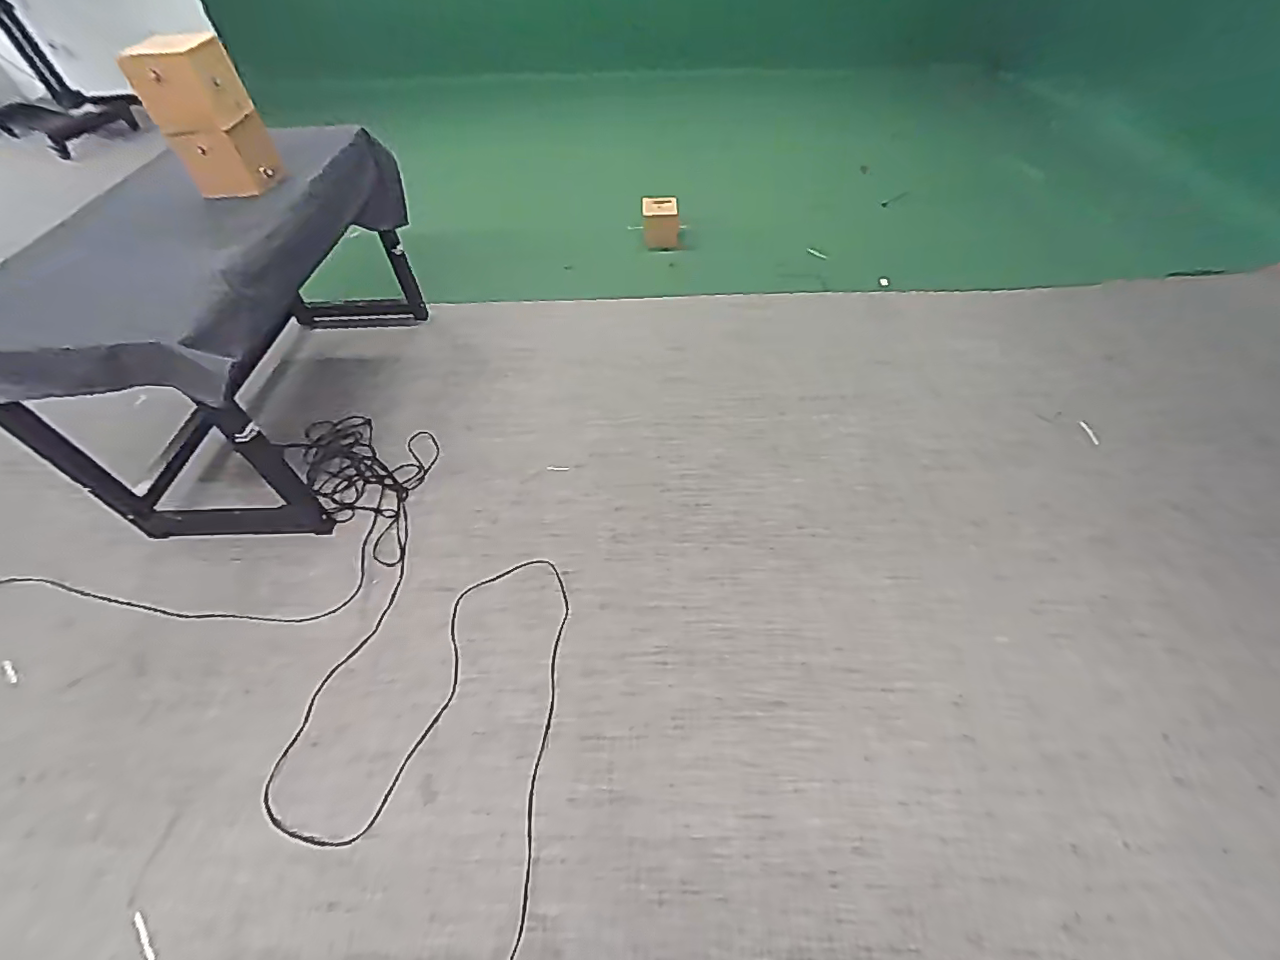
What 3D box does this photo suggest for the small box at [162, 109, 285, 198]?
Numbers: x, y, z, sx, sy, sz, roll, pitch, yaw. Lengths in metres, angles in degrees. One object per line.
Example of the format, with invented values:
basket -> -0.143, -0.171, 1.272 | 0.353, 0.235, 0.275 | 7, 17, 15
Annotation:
small box -> -1.141, -0.902, 1.499 | 0.179, 0.176, 0.168 | 0, 52, 2

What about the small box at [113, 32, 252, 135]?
small box -> -1.141, -1.000, 1.369 | 0.179, 0.176, 0.168 | -2, 52, 3
